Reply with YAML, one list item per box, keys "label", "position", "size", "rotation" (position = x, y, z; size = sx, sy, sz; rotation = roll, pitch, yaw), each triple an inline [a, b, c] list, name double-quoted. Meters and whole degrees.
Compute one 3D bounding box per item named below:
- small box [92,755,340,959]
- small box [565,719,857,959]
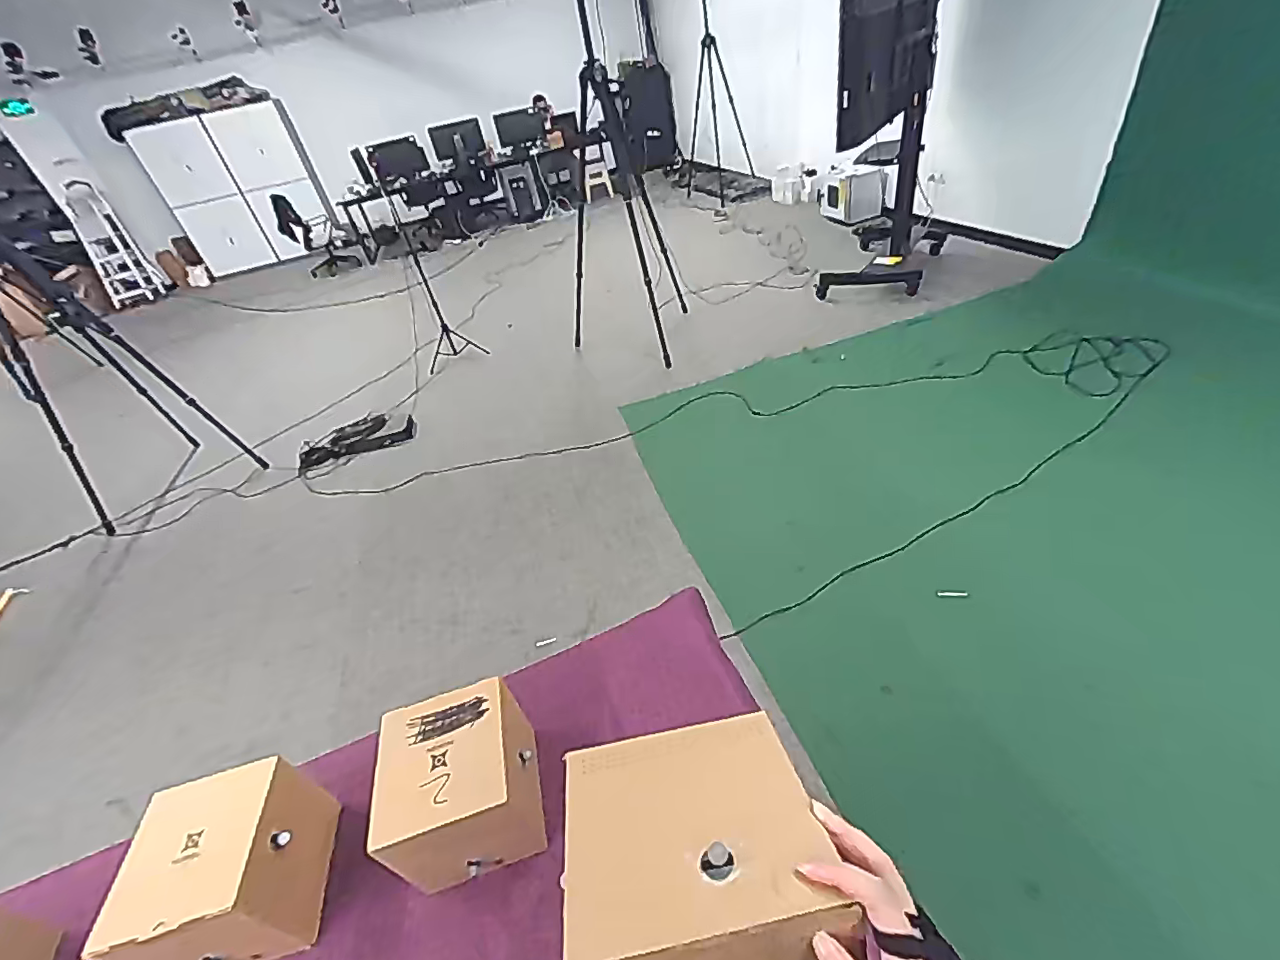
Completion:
- label: "small box"
  position: [-0.526, 0.503, 0.709]
  size: [0.168, 0.176, 0.179]
  rotation: [-16, 39, -4]
- label: "small box"
  position: [0.041, 0.310, 0.407]
  size: [0.179, 0.168, 0.176]
  rotation: [-10, 16, -3]
